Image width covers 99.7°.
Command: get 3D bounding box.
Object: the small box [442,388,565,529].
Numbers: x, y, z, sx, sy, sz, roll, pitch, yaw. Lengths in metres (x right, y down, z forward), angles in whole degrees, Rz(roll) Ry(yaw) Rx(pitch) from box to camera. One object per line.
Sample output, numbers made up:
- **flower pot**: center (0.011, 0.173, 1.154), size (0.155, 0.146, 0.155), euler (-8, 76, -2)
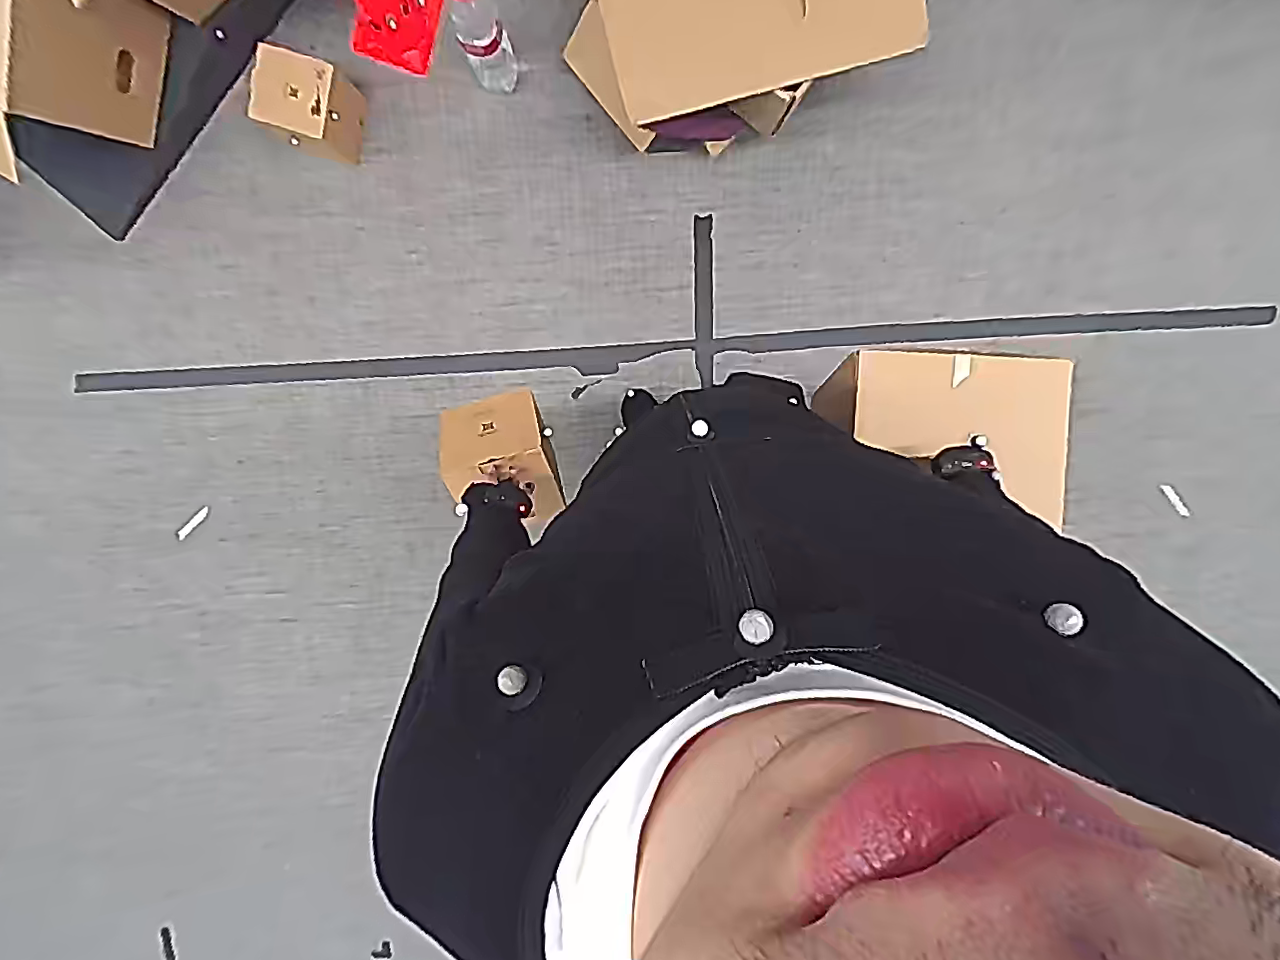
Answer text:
- **small box**: center (-0.241, -0.031, 0.971), size (0.168, 0.179, 0.176), euler (-16, 136, -4)
